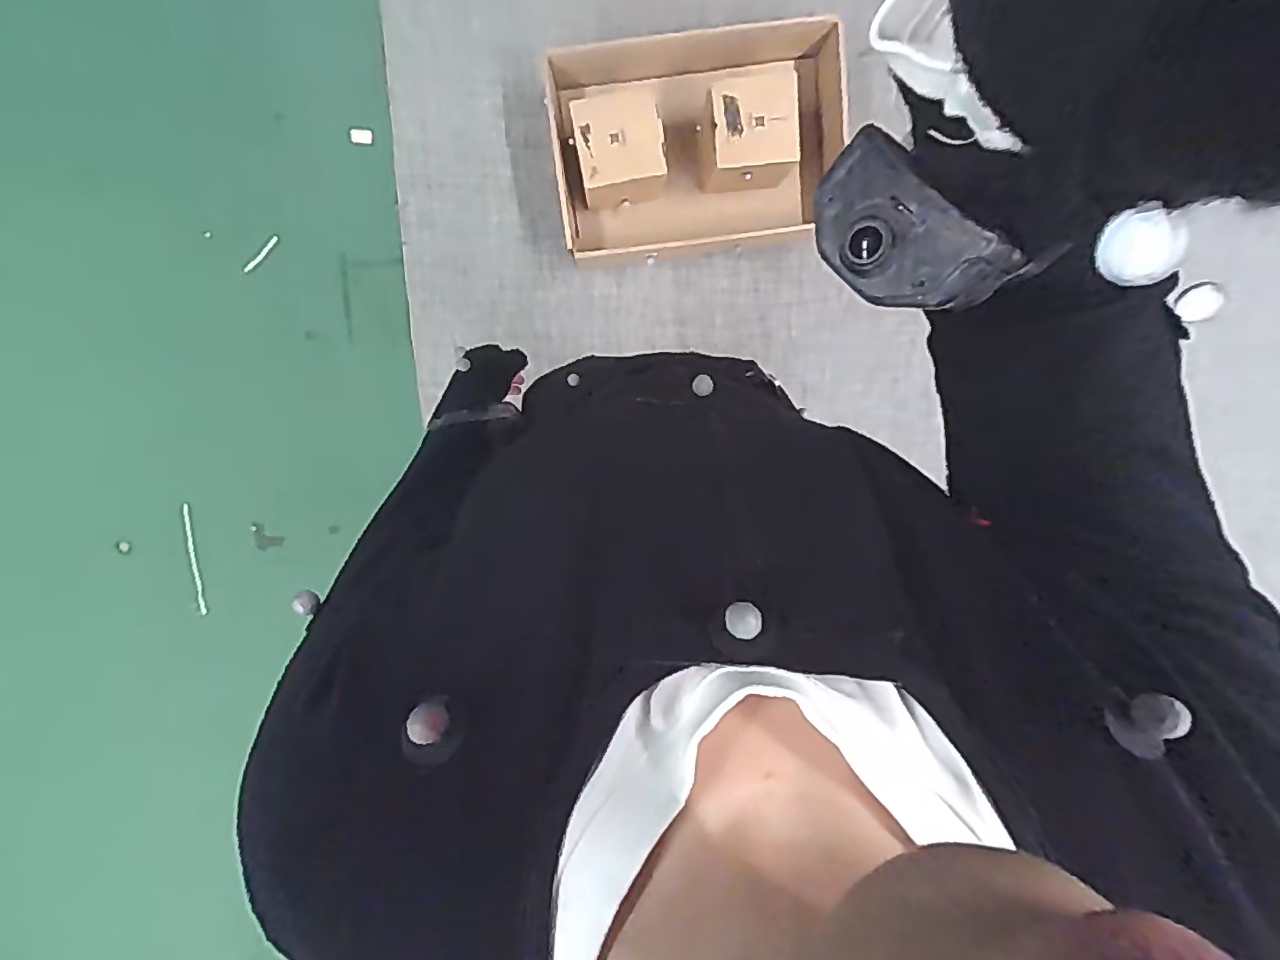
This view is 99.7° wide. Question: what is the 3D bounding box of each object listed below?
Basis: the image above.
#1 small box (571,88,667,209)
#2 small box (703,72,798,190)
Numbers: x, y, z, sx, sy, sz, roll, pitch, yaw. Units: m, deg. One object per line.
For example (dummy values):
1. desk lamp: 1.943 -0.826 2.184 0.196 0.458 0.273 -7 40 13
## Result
1. small box: -0.046 -0.712 1.177 0.179 0.176 0.168 -10 102 -1
2. small box: 0.232 -0.748 1.178 0.179 0.176 0.168 -5 103 0
